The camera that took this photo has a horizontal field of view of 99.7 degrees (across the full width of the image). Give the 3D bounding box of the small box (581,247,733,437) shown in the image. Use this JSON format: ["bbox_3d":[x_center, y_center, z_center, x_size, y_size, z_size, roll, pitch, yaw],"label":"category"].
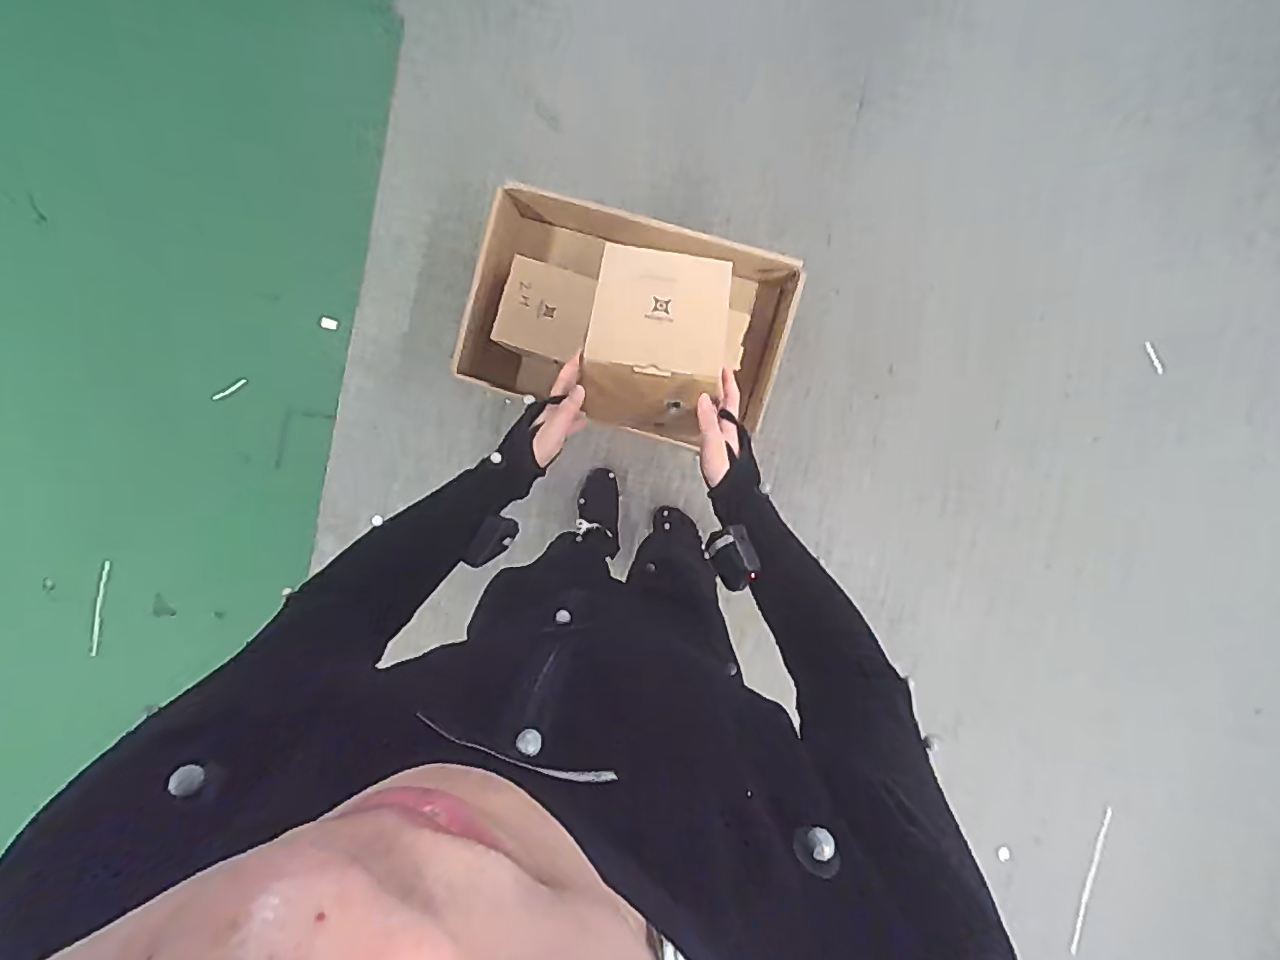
[{"bbox_3d":[0.020,-0.174,0.725,0.168,0.176,0.179,9,70,-1],"label":"small box"}]
